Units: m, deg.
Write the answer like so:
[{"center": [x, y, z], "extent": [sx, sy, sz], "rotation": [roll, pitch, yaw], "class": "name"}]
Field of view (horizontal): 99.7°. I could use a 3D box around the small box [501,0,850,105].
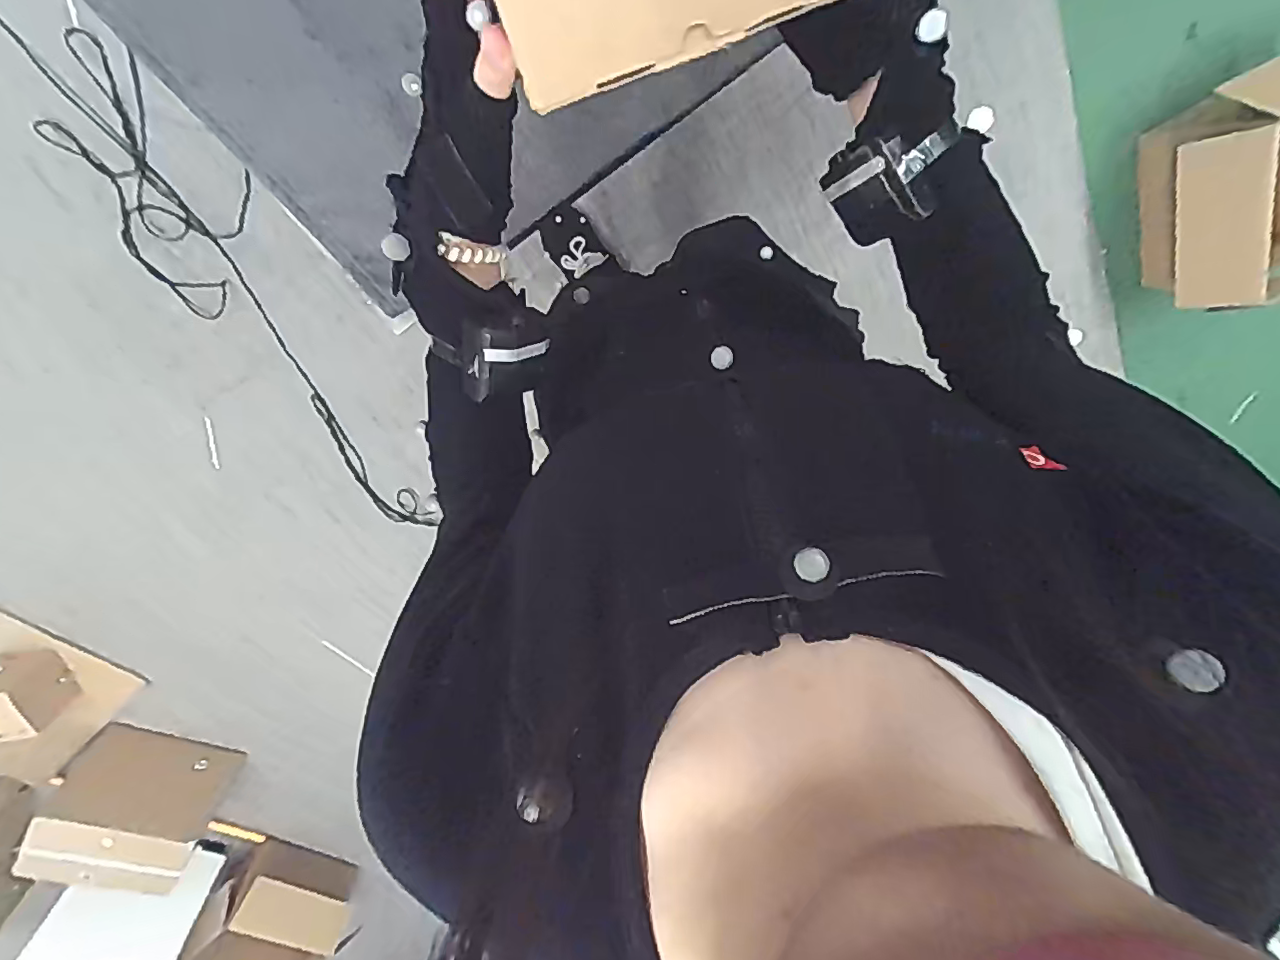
[{"center": [-0.005, -0.311, 0.251], "extent": [0.168, 0.176, 0.179], "rotation": [-20, 134, 1], "class": "small box"}]
